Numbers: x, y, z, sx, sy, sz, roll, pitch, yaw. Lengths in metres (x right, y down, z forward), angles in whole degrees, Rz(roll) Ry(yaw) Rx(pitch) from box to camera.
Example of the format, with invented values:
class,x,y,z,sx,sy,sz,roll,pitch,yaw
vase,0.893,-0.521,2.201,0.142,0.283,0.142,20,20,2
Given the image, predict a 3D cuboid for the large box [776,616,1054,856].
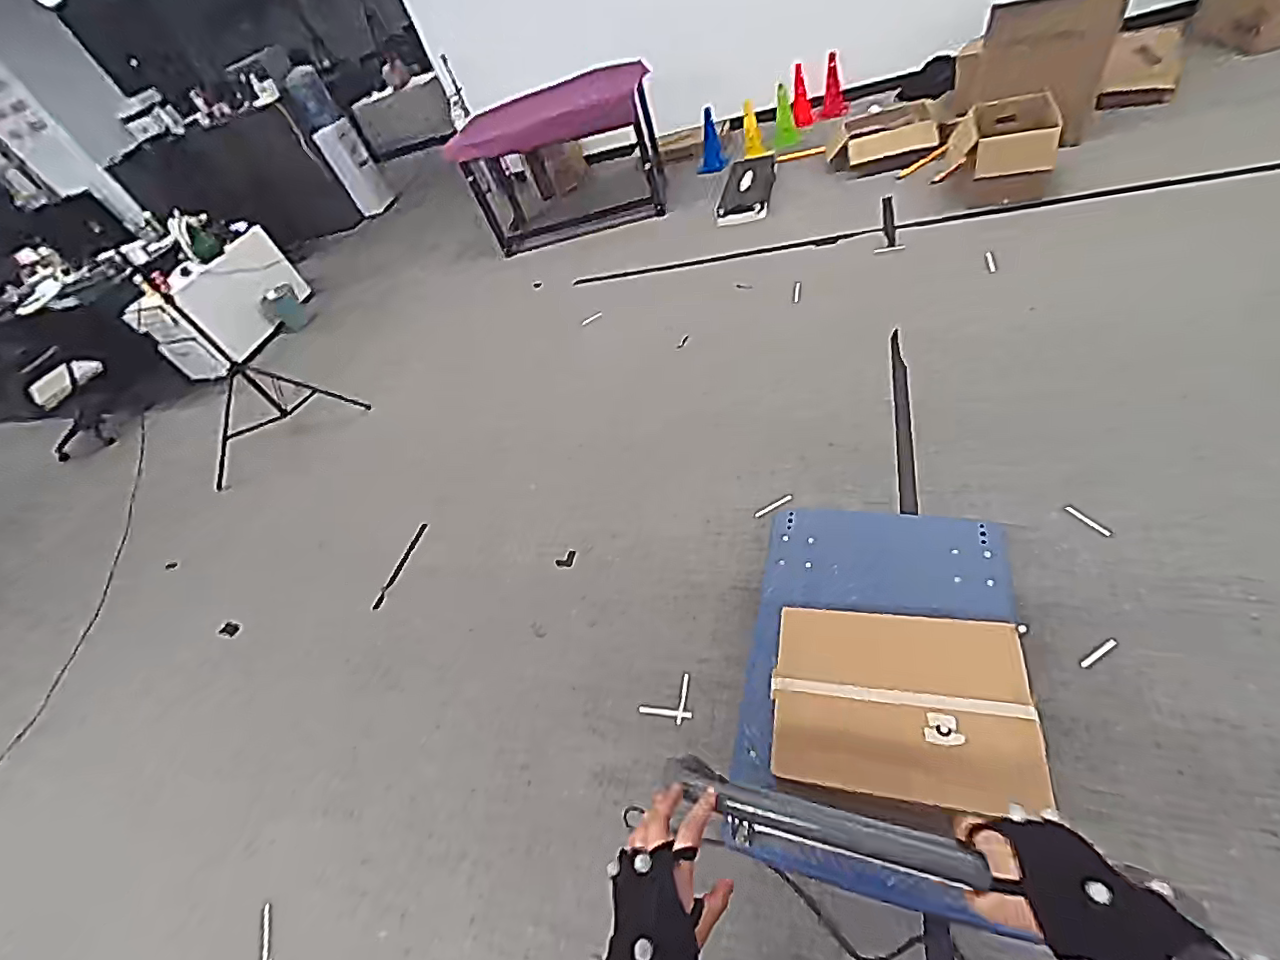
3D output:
class,x,y,z,sx,sy,sz,roll,pitch,yaw
large box,0.483,0.484,1.044,0.408,0.320,0.320,0,51,20
